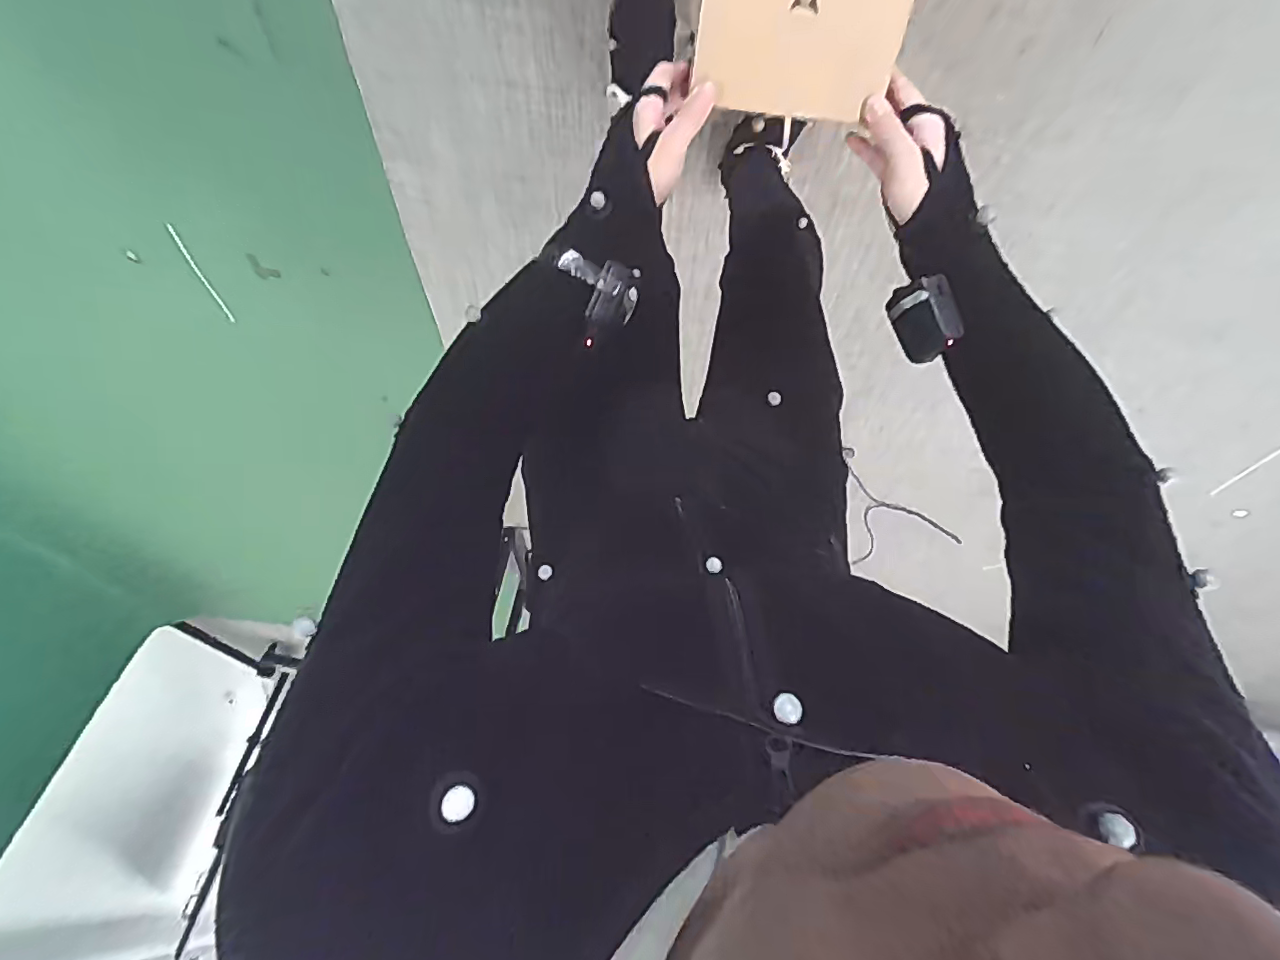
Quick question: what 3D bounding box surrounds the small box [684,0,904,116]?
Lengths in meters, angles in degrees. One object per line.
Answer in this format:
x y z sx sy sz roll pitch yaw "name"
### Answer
0.134 -0.446 0.487 0.168 0.176 0.179 6 125 -3 "small box"
